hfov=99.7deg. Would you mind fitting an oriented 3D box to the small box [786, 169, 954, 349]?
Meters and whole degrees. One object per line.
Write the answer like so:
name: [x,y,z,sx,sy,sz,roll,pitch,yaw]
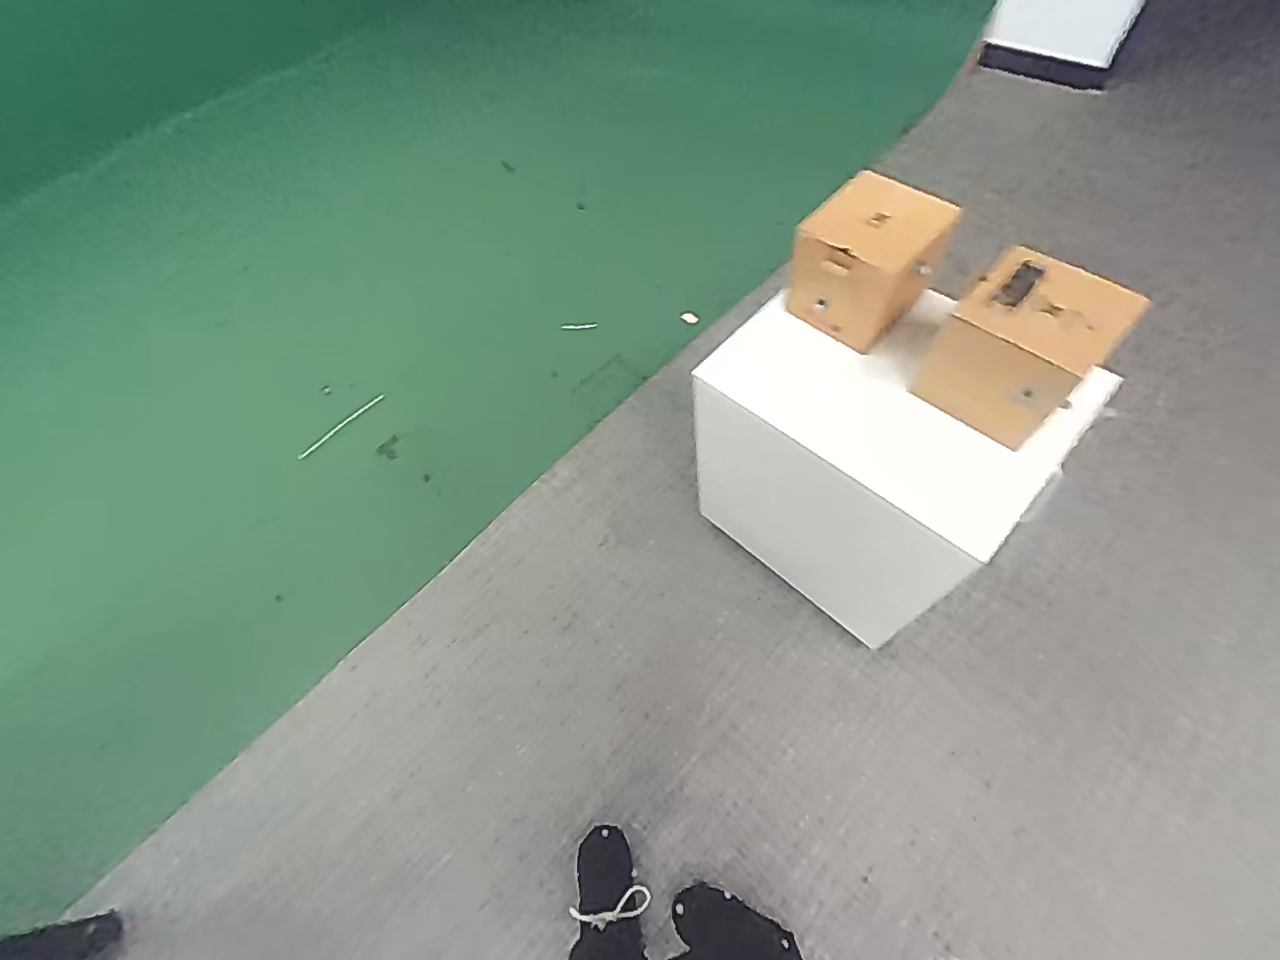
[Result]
small box: [0.355,-0.351,0.871,0.168,0.176,0.179,39,74,23]
